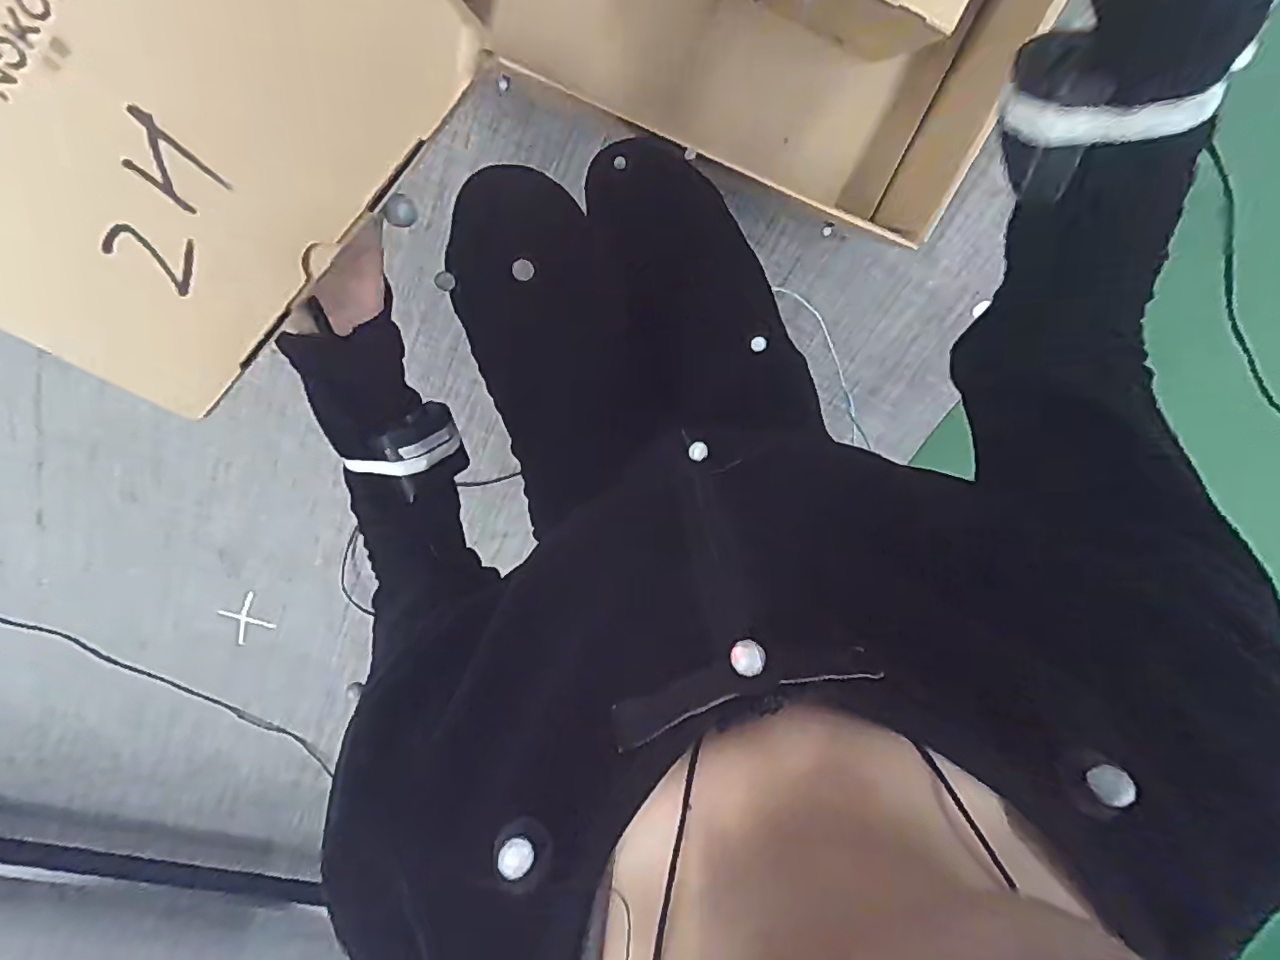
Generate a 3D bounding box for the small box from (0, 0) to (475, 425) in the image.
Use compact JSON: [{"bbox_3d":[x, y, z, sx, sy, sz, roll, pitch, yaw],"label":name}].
[{"bbox_3d":[-0.181,-0.160,0.196,0.168,0.176,0.179,-38,128,17],"label":"small box"}]
